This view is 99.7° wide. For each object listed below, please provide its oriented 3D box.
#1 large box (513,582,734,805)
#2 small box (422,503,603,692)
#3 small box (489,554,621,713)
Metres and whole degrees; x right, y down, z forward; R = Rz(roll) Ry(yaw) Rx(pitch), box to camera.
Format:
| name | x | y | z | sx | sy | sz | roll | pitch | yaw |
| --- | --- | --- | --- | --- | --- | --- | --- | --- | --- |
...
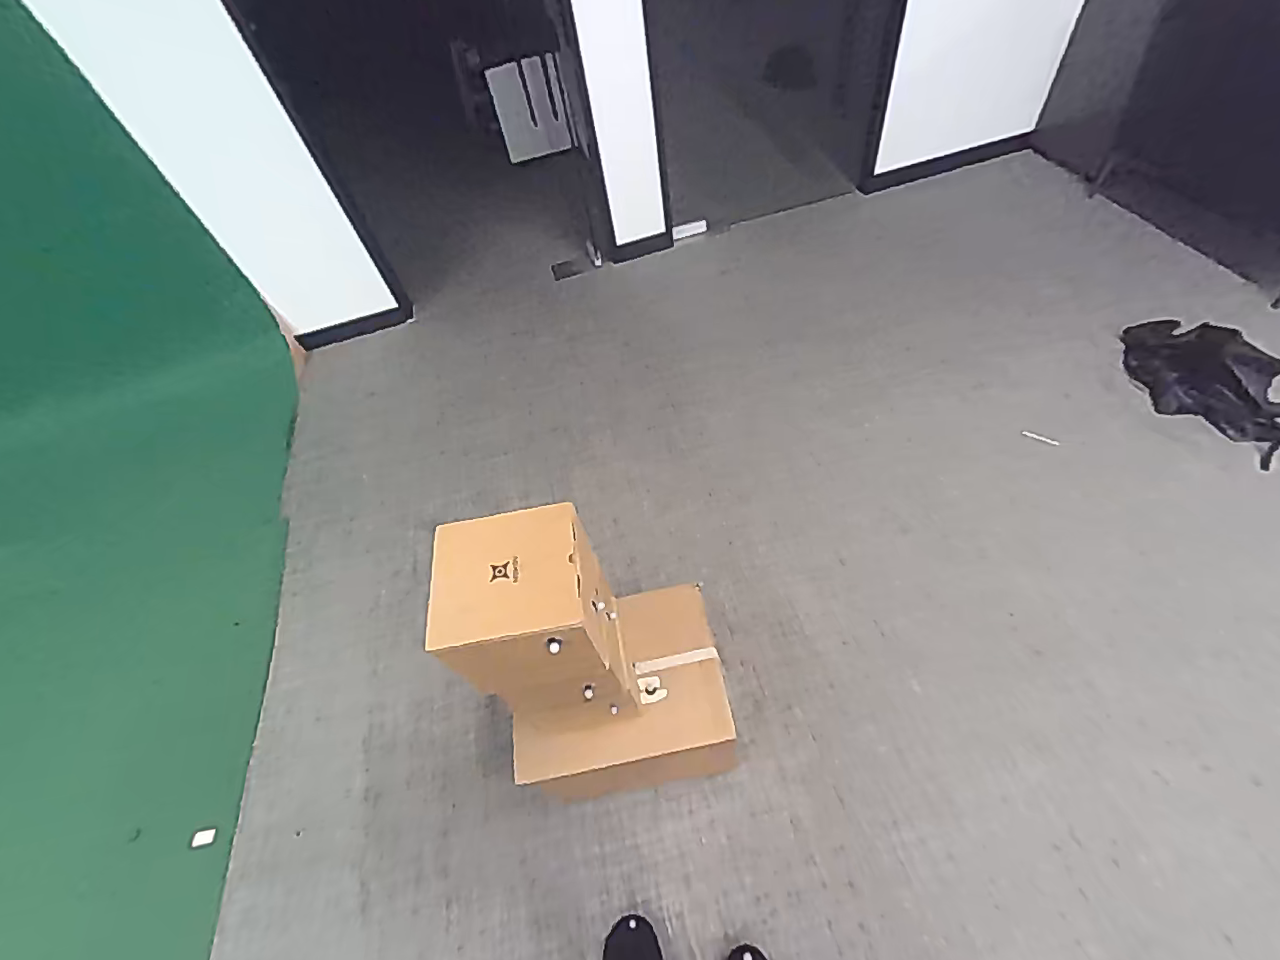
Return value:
| name | x | y | z | sx | sy | sz | roll | pitch | yaw |
| --- | --- | --- | --- | --- | --- | --- | --- | --- | --- |
| large box | -0.038 | 0.464 | 1.158 | 0.408 | 0.320 | 0.320 | -12 | 53 | -1 |
| small box | -0.152 | 0.155 | 0.690 | 0.179 | 0.176 | 0.168 | -10 | 52 | -1 |
| small box | -0.129 | 0.241 | 0.827 | 0.168 | 0.176 | 0.179 | -12 | 52 | -2 |
